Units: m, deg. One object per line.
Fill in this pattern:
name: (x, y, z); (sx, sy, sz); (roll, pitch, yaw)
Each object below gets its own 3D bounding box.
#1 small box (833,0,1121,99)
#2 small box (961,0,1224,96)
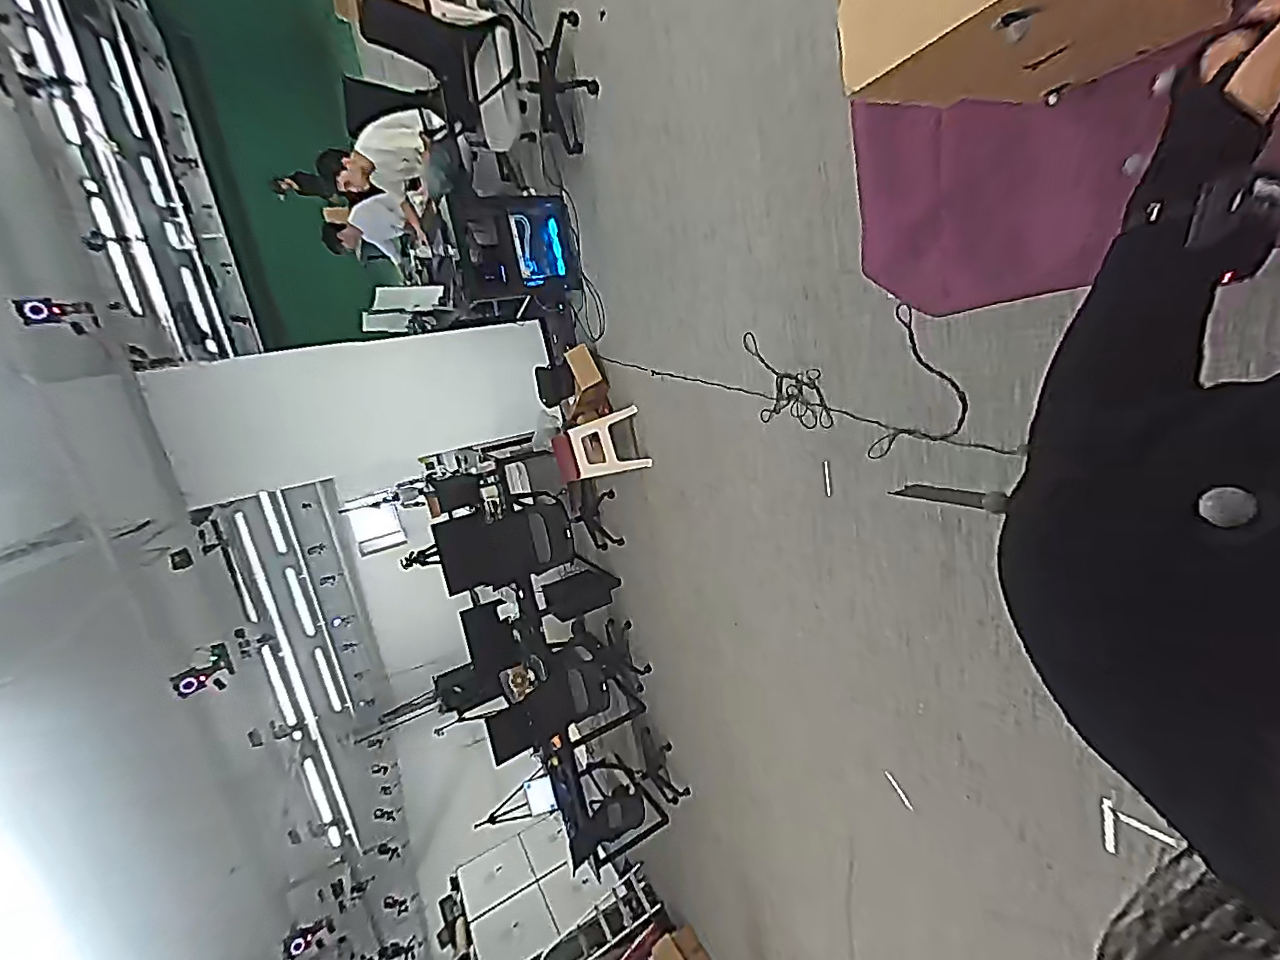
small box: (0.286, -0.451, 0.451); (0.179, 0.176, 0.168); (11, 116, 61)
small box: (0.426, -0.504, 0.519); (0.168, 0.176, 0.179); (12, 116, 60)
